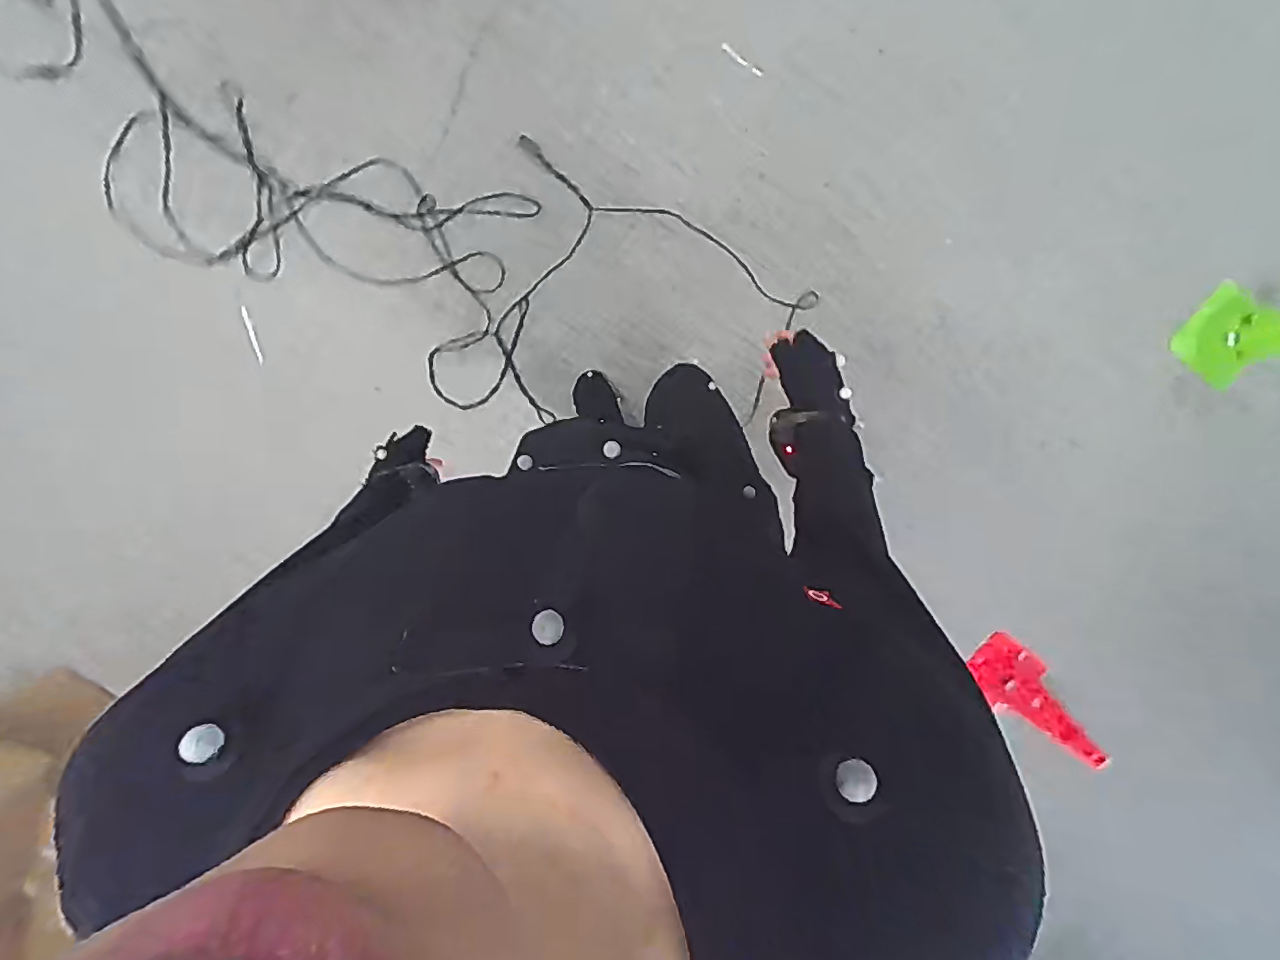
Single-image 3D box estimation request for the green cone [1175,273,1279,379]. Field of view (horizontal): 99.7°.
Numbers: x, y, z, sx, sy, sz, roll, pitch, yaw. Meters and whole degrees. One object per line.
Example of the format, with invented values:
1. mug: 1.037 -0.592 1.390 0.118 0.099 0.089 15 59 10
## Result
1. green cone: 1.455 -0.340 1.173 0.200 0.368 0.202 33 102 -6
